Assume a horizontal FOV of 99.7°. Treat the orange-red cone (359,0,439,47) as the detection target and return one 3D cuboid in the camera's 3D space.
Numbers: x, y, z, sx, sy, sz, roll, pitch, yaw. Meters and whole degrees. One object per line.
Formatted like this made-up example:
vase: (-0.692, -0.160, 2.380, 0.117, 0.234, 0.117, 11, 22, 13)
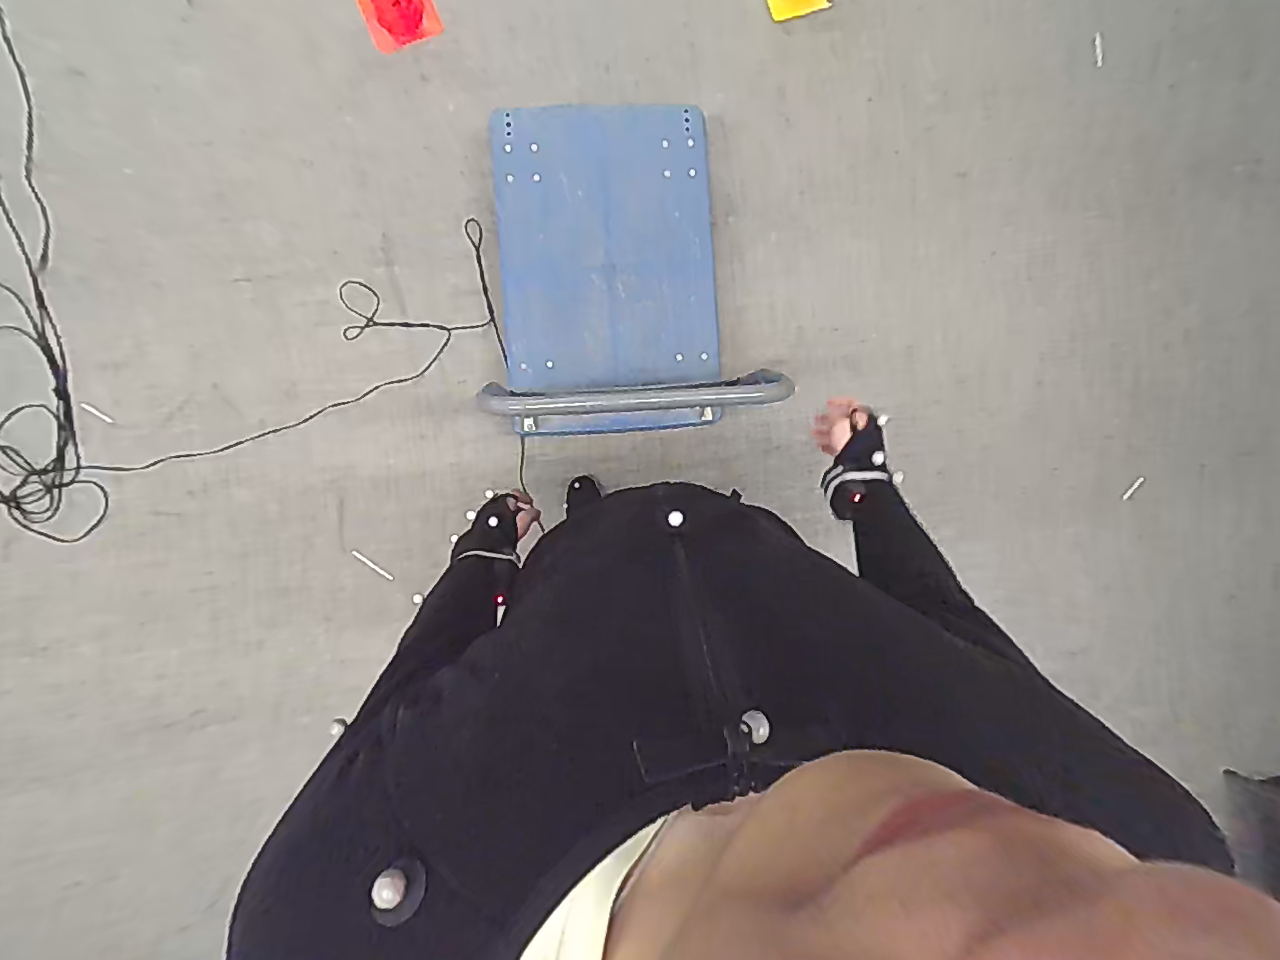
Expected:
orange-red cone: (-0.694, -1.370, 1.398, 0.199, 0.360, 0.198, -22, 91, -2)
